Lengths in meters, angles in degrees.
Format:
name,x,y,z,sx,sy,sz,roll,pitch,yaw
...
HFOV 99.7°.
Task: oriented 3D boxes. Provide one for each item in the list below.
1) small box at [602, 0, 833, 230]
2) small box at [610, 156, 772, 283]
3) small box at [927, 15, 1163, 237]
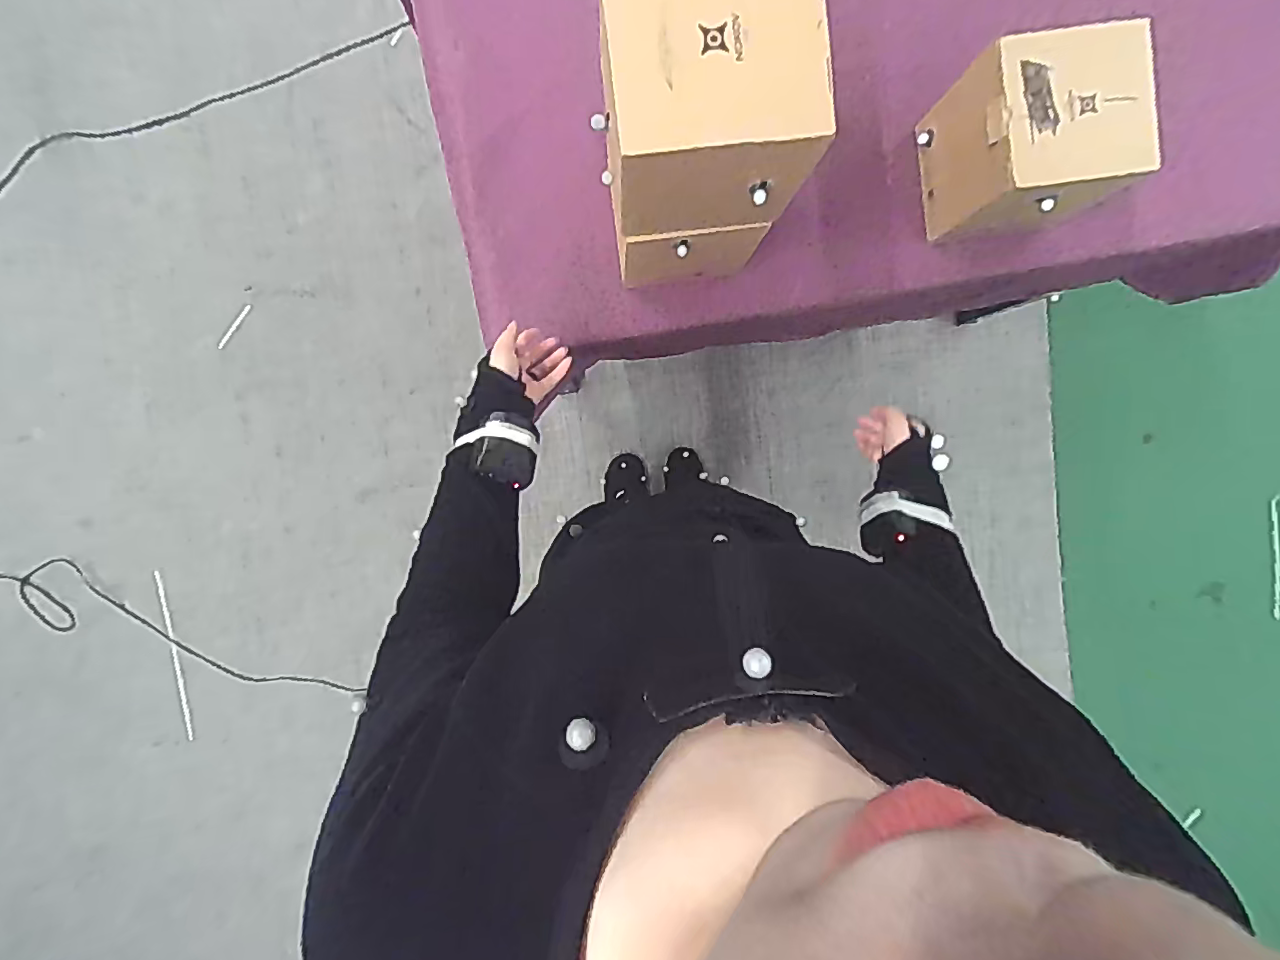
name,x,y,z,sx,sy,sz,roll,pitch,yaw
small box,0.058,-0.352,0.502,0.179,0.176,0.168,-6,94,-1
small box,0.052,-0.363,0.666,0.168,0.176,0.179,-7,93,-1
small box,0.484,-0.423,0.676,0.179,0.176,0.168,-8,94,-2
